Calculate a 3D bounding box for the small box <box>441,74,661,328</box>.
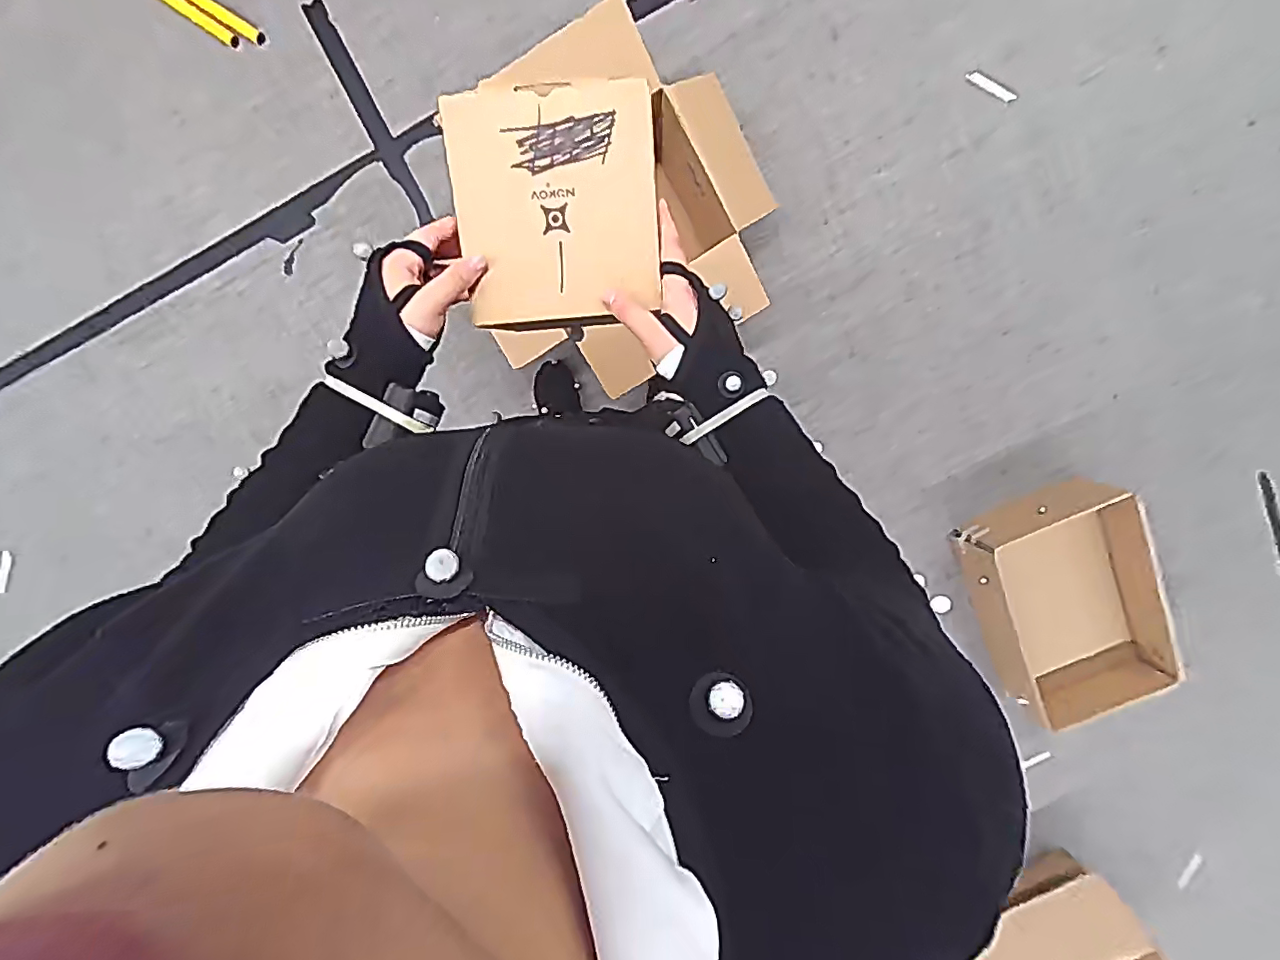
[{"bbox_3d":[-0.070,-0.244,0.517,0.168,0.176,0.179,-4,104,1],"label":"small box"}]
